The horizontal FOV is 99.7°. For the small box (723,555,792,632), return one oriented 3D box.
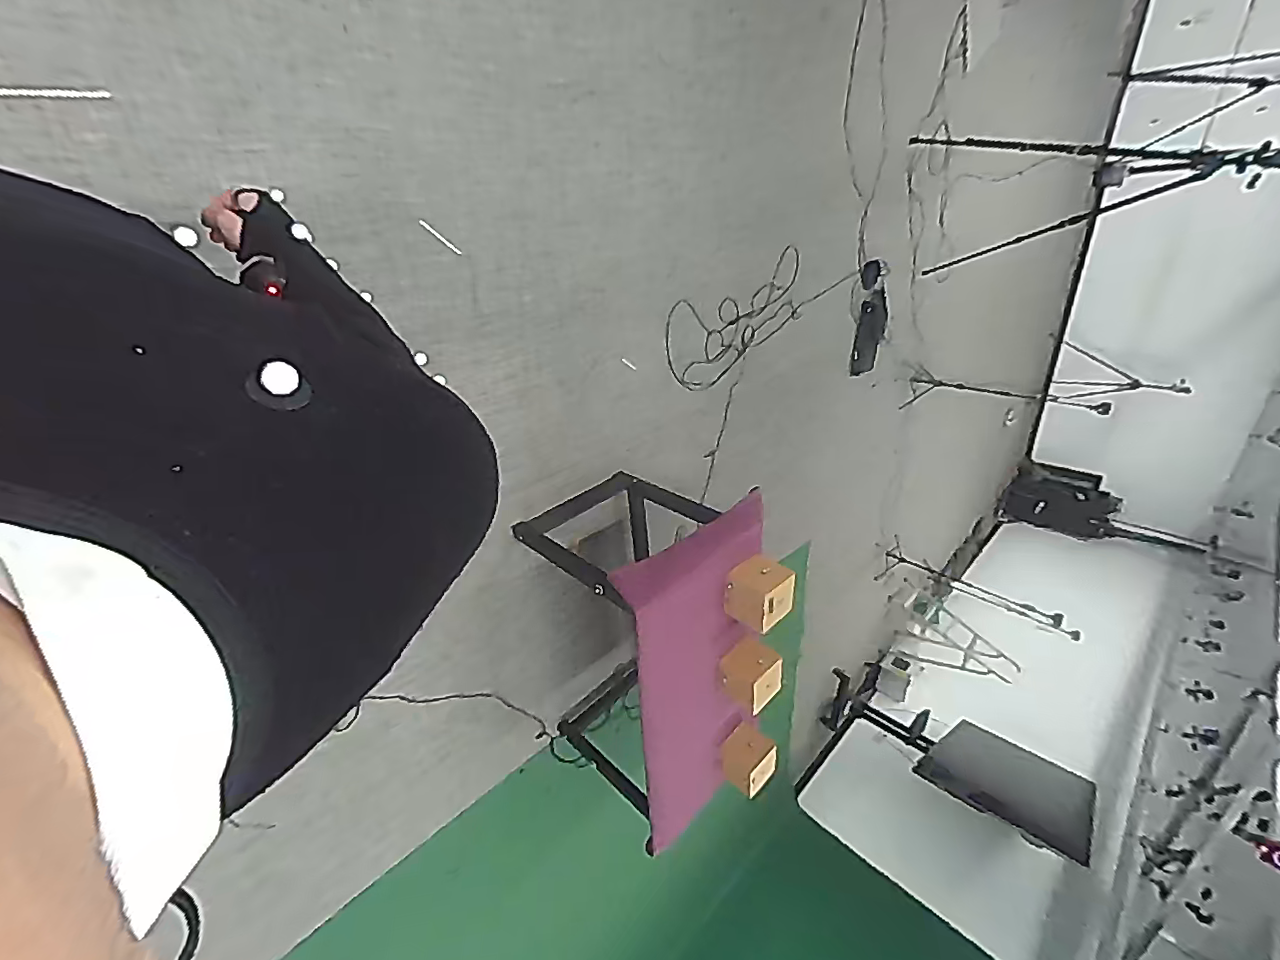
[{"bbox_3d":[0.401,0.386,1.867,0.179,0.176,0.168,-24,124,-37],"label":"small box"}]

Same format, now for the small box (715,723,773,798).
[{"bbox_3d":[0.427,1.146,2.225,0.179,0.176,0.168,-28,125,-37],"label":"small box"}]

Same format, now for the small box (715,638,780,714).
[{"bbox_3d":[0.400,0.723,2.017,0.179,0.176,0.168,-26,124,-36],"label":"small box"}]
